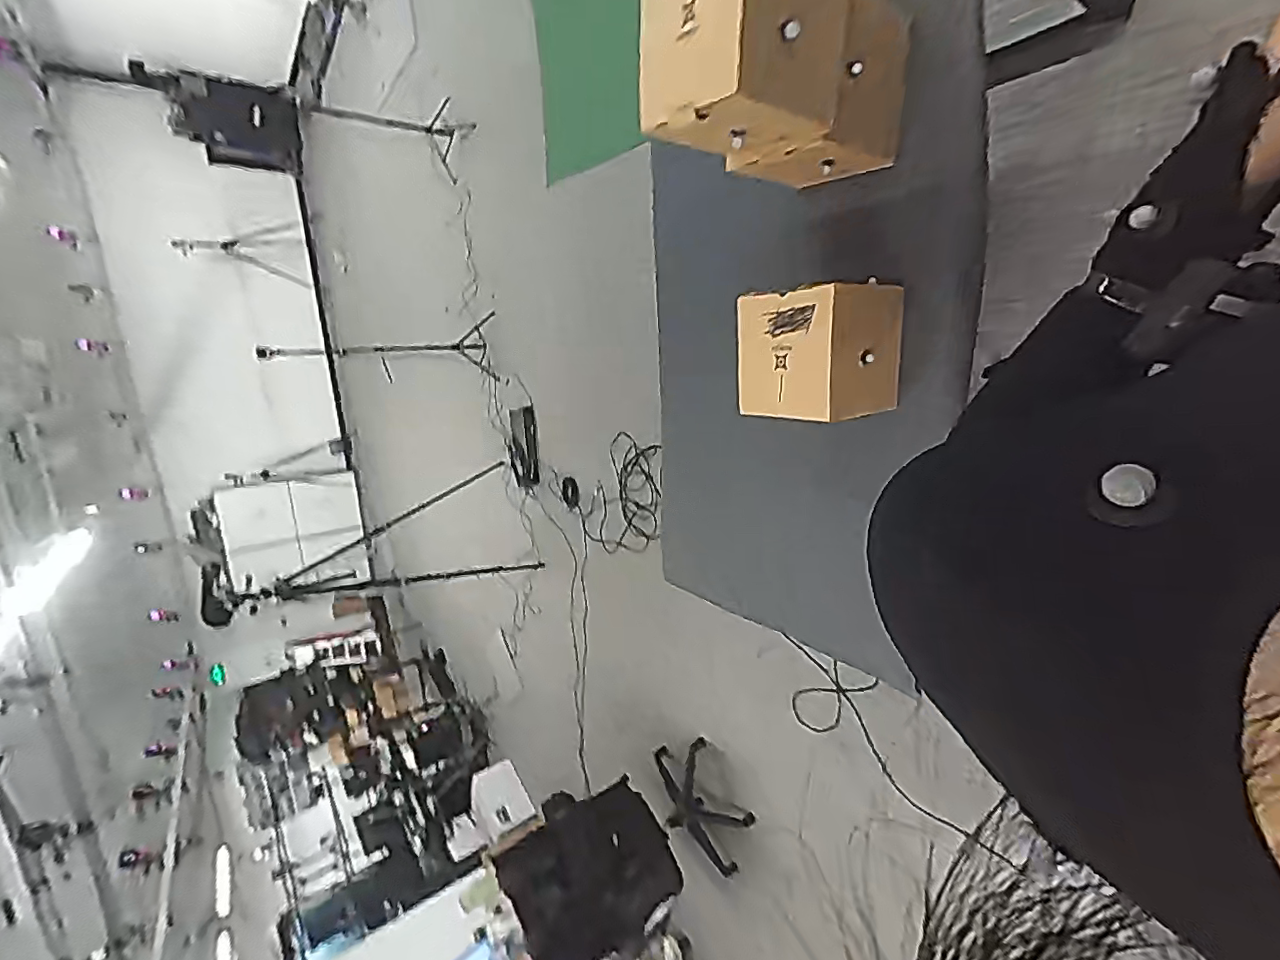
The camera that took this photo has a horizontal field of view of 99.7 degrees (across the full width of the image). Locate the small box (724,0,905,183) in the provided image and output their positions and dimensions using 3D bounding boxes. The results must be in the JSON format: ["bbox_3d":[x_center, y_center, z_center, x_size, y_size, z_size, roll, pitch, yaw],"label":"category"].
[{"bbox_3d":[0.233,-0.516,0.730,0.168,0.176,0.179,18,114,50],"label":"small box"}]

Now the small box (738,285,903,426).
[{"bbox_3d":[0.262,-0.183,0.789,0.168,0.176,0.179,16,114,52],"label":"small box"}]

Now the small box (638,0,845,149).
[{"bbox_3d":[0.113,-0.496,0.618,0.168,0.176,0.179,22,118,49],"label":"small box"}]
